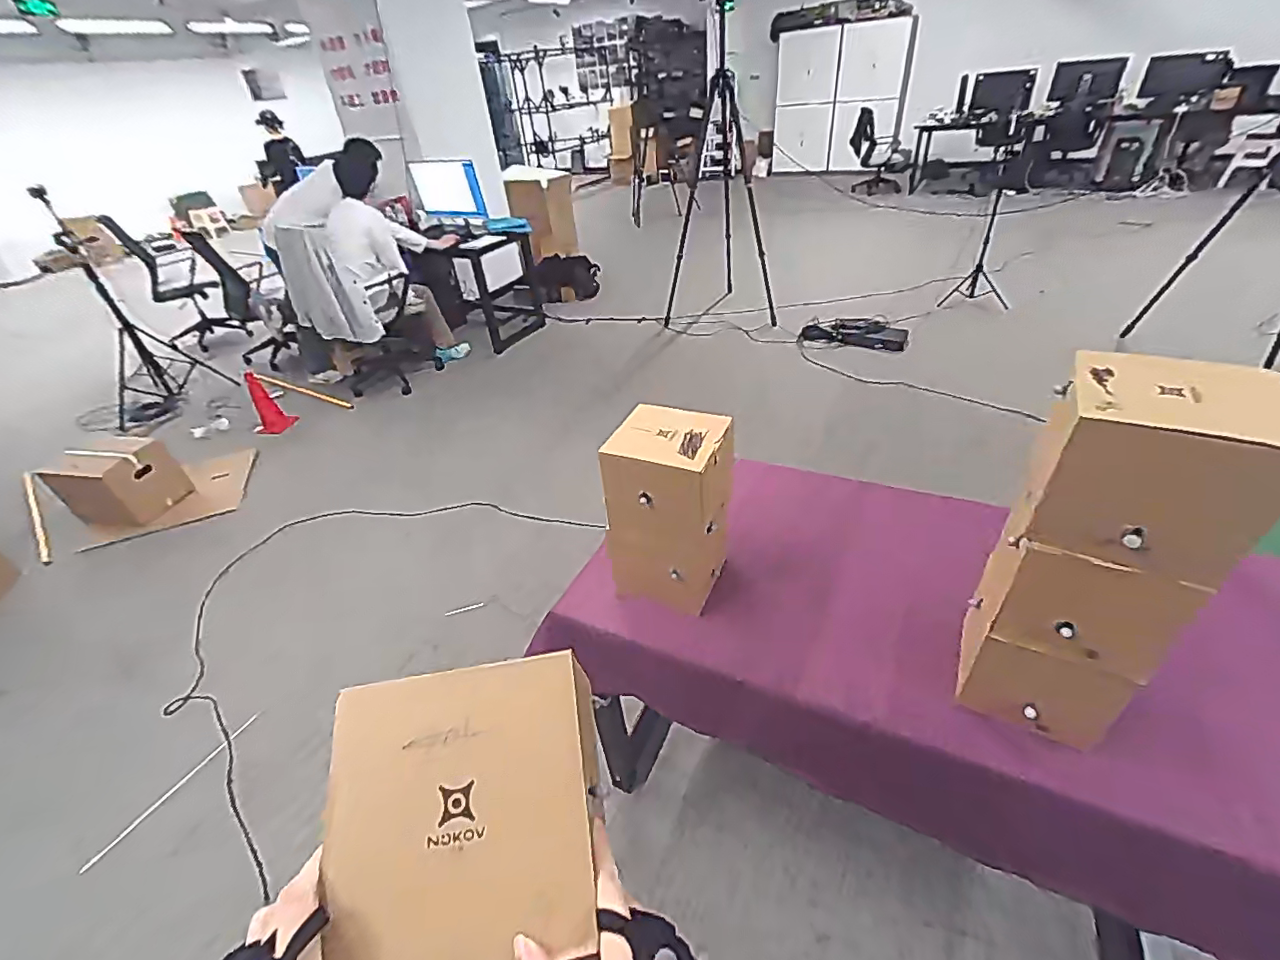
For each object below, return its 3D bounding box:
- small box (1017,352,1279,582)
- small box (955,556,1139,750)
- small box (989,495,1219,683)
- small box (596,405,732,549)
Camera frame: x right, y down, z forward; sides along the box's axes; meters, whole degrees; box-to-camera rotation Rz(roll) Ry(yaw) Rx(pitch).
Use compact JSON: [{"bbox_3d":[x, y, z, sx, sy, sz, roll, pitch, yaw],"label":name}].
[{"bbox_3d":[0.545,-0.016,0.586,0.179,0.176,0.168,17,43,27],"label":"small box"},{"bbox_3d":[0.573,0.244,0.783,0.168,0.176,0.179,15,42,26],"label":"small box"},{"bbox_3d":[0.562,0.115,0.685,0.168,0.176,0.179,15,42,26],"label":"small box"},{"bbox_3d":[0.048,-0.005,0.919,0.179,0.176,0.168,12,40,22],"label":"small box"}]
